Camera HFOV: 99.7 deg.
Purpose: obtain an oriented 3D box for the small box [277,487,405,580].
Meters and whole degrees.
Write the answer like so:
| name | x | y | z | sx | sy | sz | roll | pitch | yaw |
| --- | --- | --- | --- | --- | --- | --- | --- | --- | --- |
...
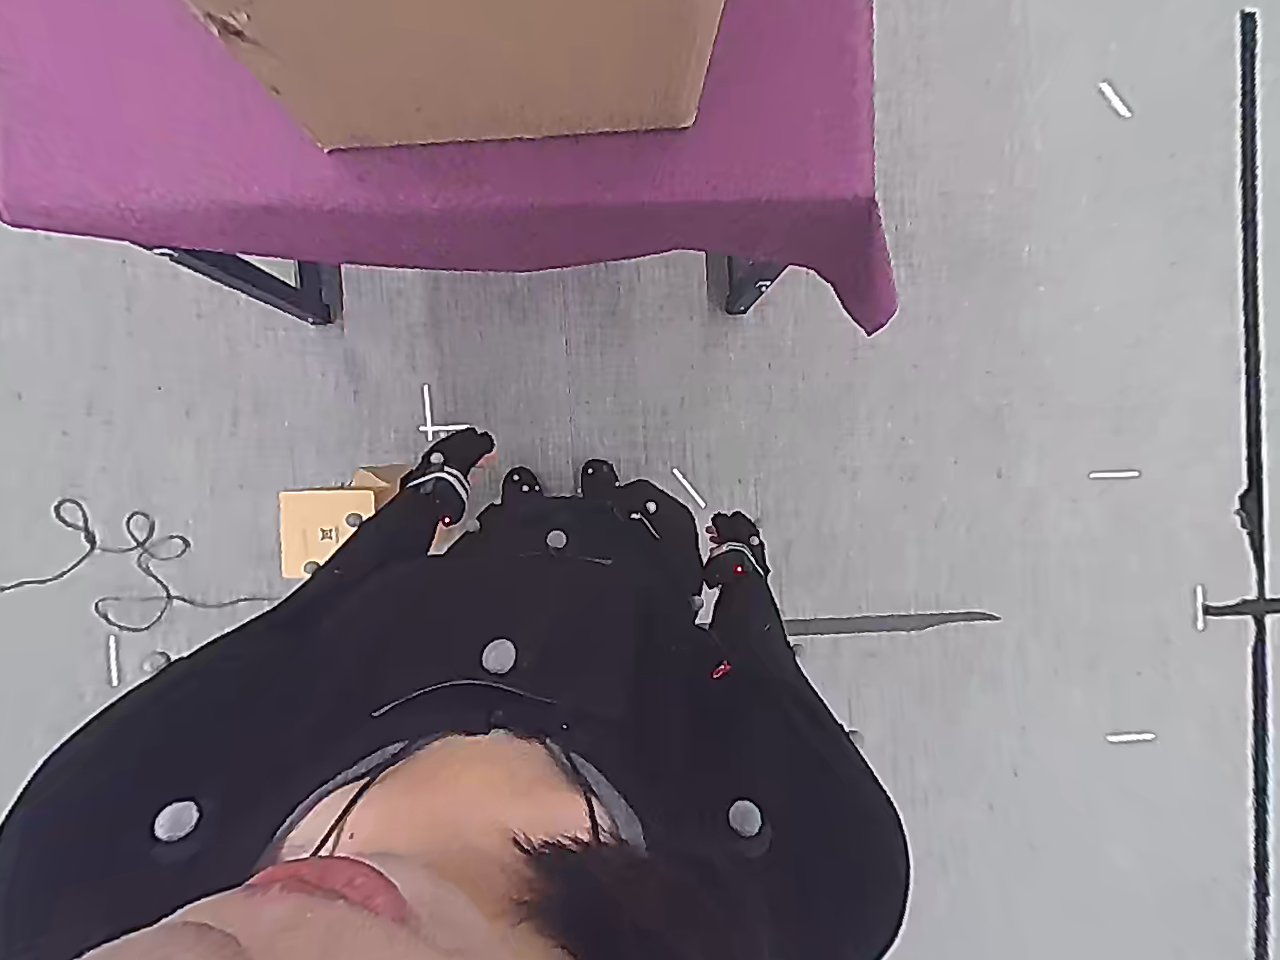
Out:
| name | x | y | z | sx | sy | sz | roll | pitch | yaw |
| --- | --- | --- | --- | --- | --- | --- | --- | --- | --- |
| small box | -0.581 | 0.100 | 1.075 | 0.179 | 0.176 | 0.168 | -1 | 91 | -3 |

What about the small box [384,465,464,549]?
| name | x | y | z | sx | sy | sz | roll | pitch | yaw |
| --- | --- | --- | --- | --- | --- | --- | --- | --- | --- |
| small box | -0.587 | 0.073 | 1.401 | 0.179 | 0.176 | 0.168 | 28 | 90 | -5 |

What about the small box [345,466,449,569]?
| name | x | y | z | sx | sy | sz | roll | pitch | yaw |
| --- | --- | --- | --- | --- | --- | --- | --- | --- | --- |
| small box | -0.573 | 0.082 | 1.238 | 0.179 | 0.176 | 0.168 | 30 | 91 | -4 |
